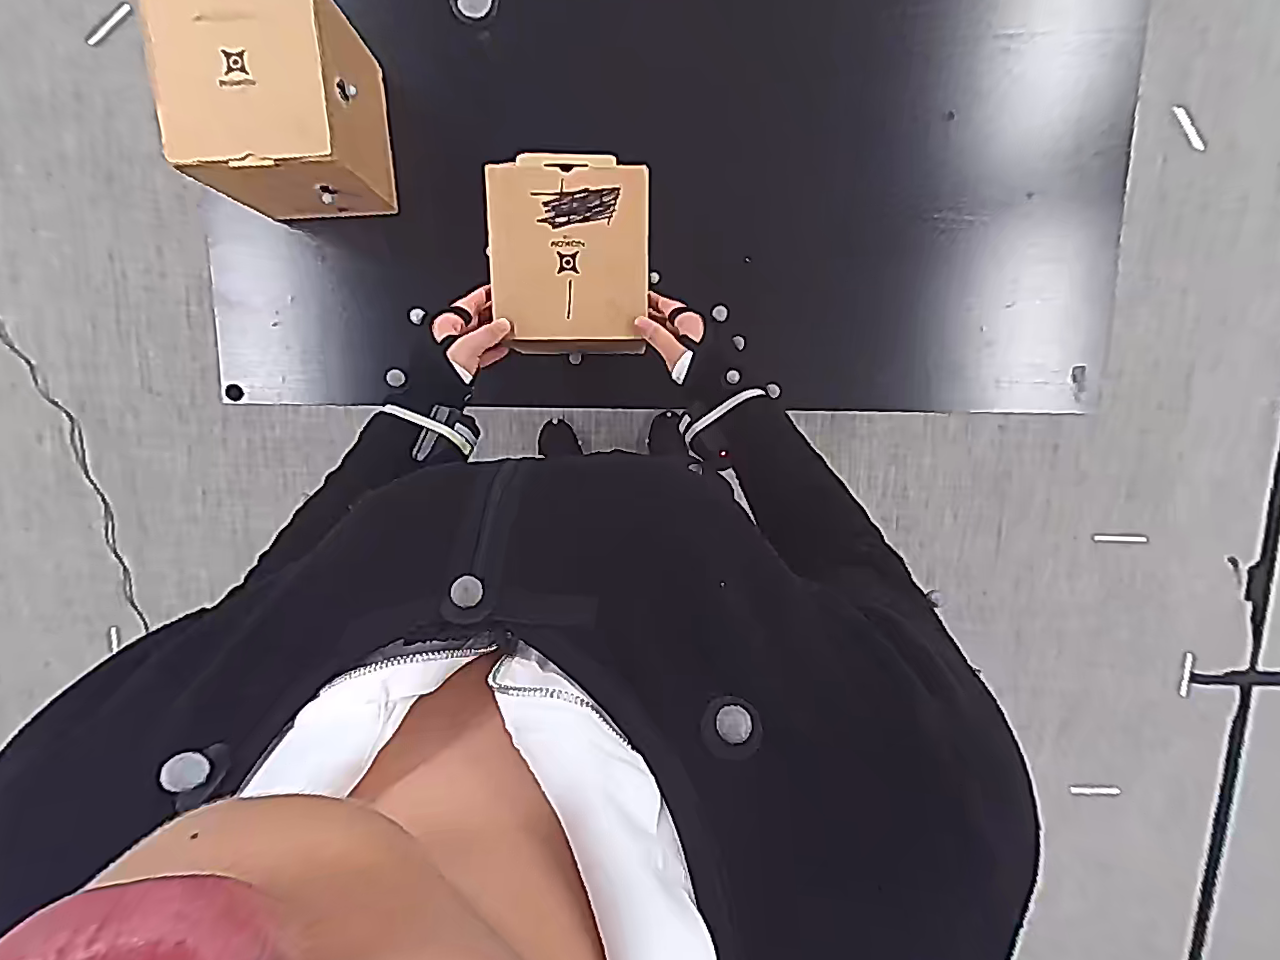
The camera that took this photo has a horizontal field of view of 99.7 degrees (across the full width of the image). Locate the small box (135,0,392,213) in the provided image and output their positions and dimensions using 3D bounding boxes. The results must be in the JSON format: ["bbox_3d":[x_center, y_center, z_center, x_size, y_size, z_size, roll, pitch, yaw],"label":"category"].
[{"bbox_3d":[-0.394,-0.410,0.599,0.168,0.176,0.179,-4,98,-3],"label":"small box"}]

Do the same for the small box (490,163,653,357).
[{"bbox_3d":[-0.073,-0.242,0.633,0.168,0.176,0.179,0,99,-2],"label":"small box"}]
